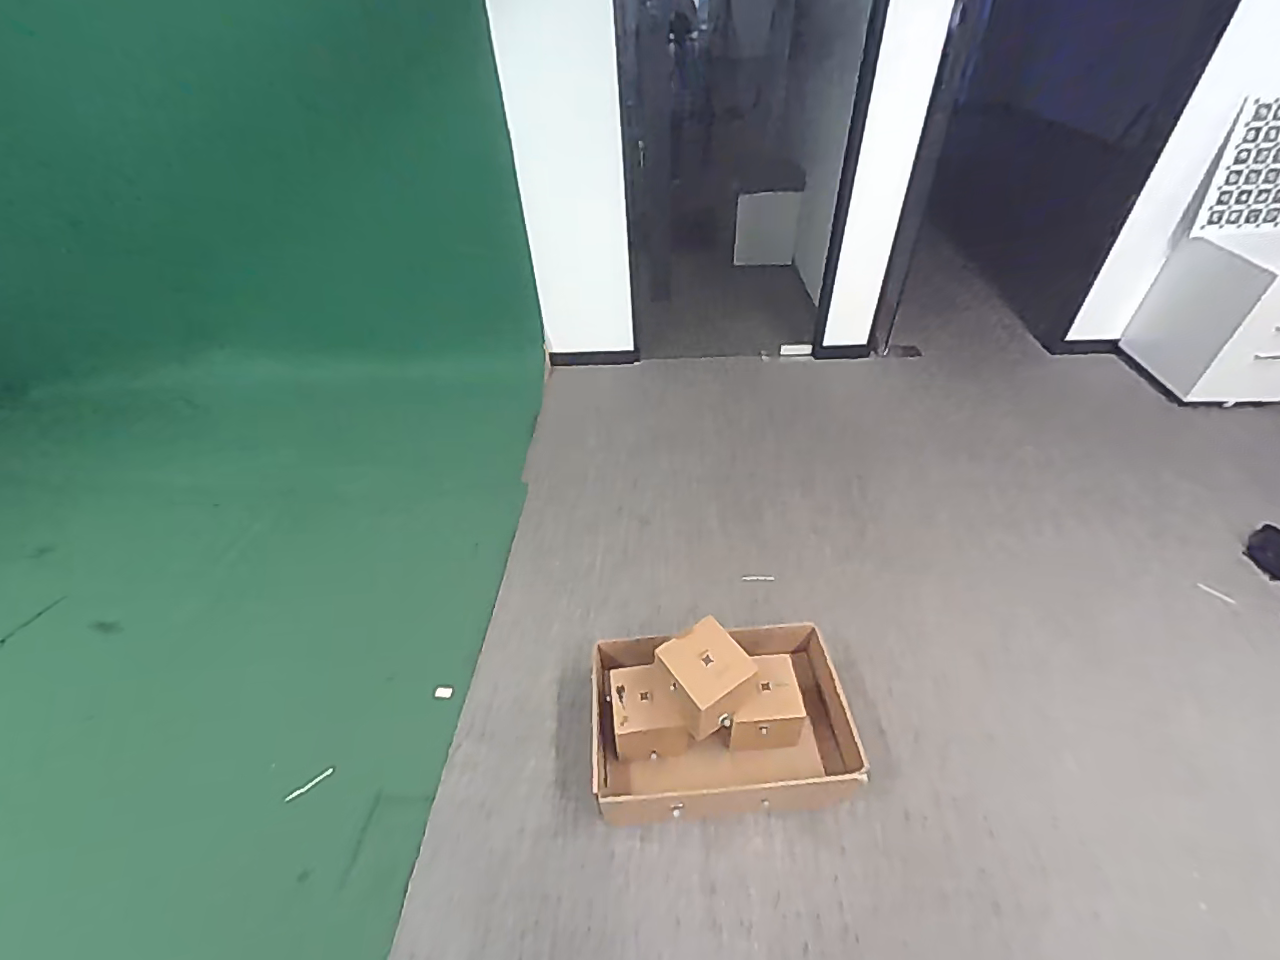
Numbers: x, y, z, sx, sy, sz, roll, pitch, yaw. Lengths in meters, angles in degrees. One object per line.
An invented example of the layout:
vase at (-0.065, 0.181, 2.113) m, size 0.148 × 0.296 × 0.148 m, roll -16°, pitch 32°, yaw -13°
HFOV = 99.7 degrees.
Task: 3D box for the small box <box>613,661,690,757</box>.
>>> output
small box at (0.025, 0.581, 1.373) m, size 0.179 × 0.176 × 0.168 m, roll -5°, pitch 41°, yaw -5°

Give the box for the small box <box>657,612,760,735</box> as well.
small box at (0.154, 0.454, 1.265) m, size 0.168 × 0.176 × 0.179 m, roll -27°, pitch 48°, yaw -23°

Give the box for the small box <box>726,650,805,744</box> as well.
small box at (0.305, 0.557, 1.378) m, size 0.179 × 0.176 × 0.168 m, roll -4°, pitch 42°, yaw 0°
